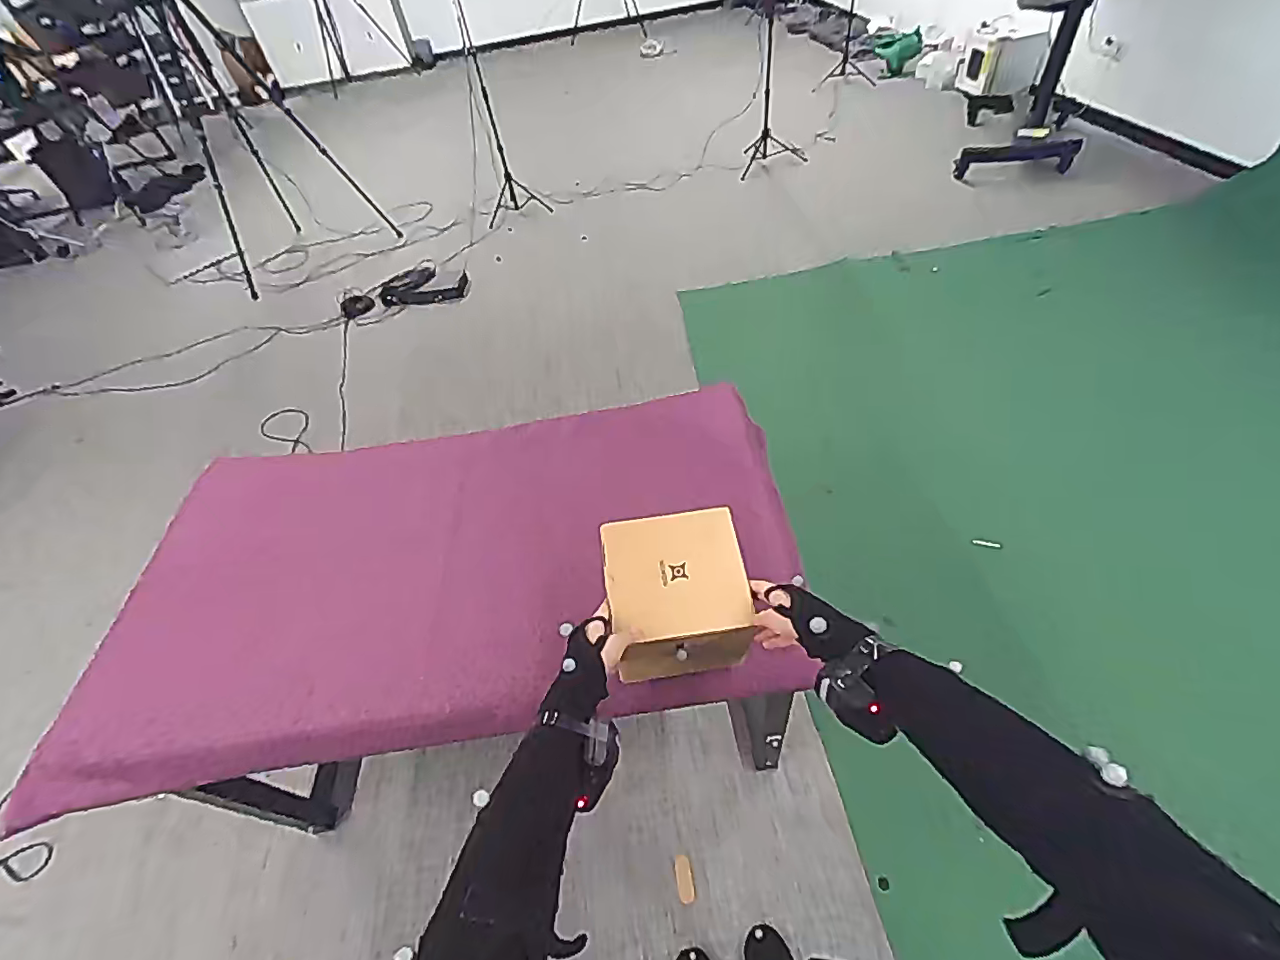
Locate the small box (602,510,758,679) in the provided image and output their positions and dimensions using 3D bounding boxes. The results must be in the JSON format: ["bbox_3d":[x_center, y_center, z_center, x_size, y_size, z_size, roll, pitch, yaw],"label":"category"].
[{"bbox_3d":[0.050,0.163,0.746,0.179,0.176,0.168,-10,57,0],"label":"small box"}]
